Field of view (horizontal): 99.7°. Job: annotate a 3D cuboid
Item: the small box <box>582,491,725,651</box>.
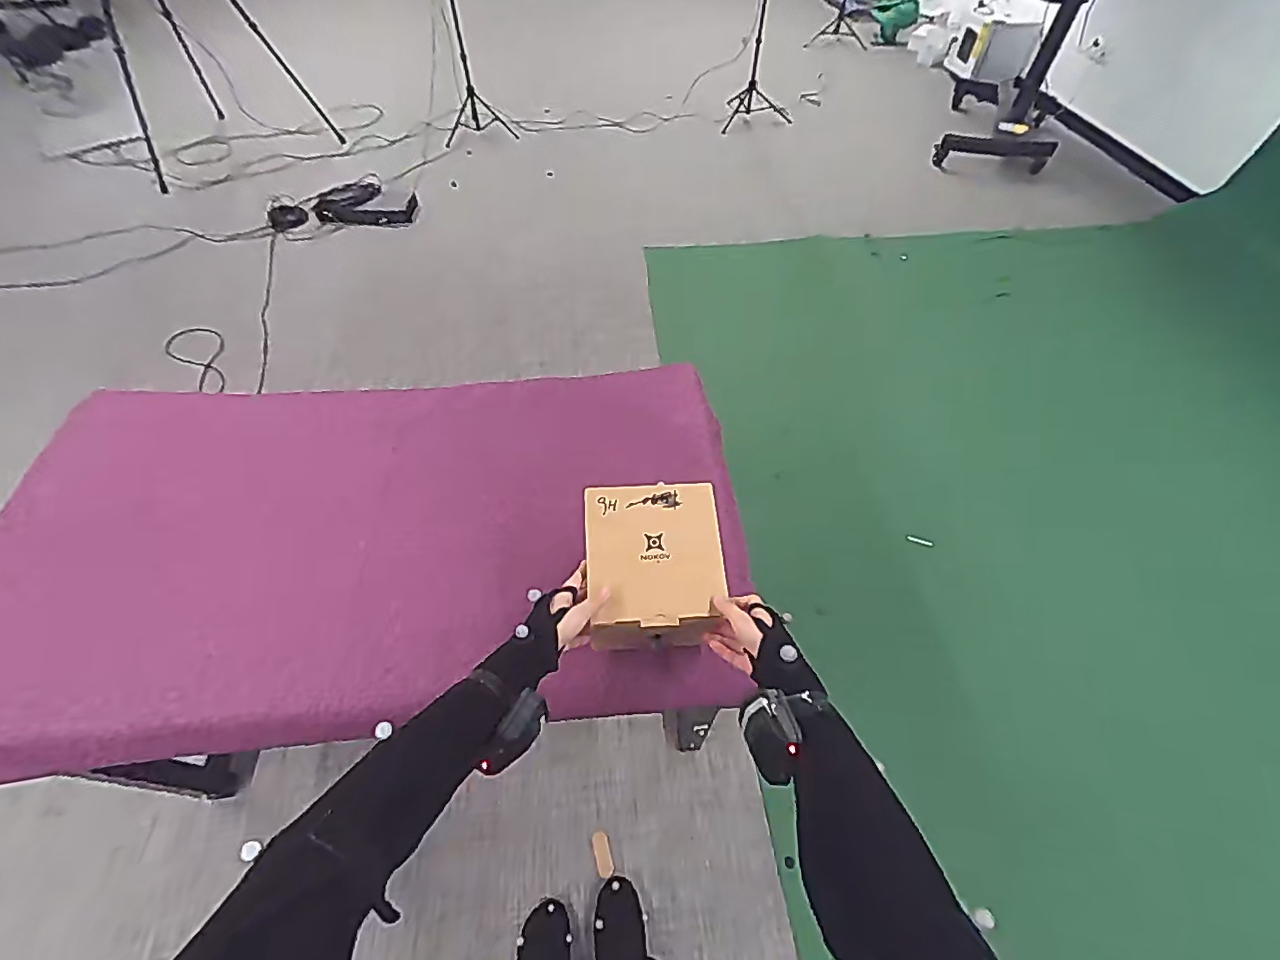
[{"bbox_3d":[0.011,0.129,0.719,0.168,0.176,0.179,-2,64,-4],"label":"small box"}]
